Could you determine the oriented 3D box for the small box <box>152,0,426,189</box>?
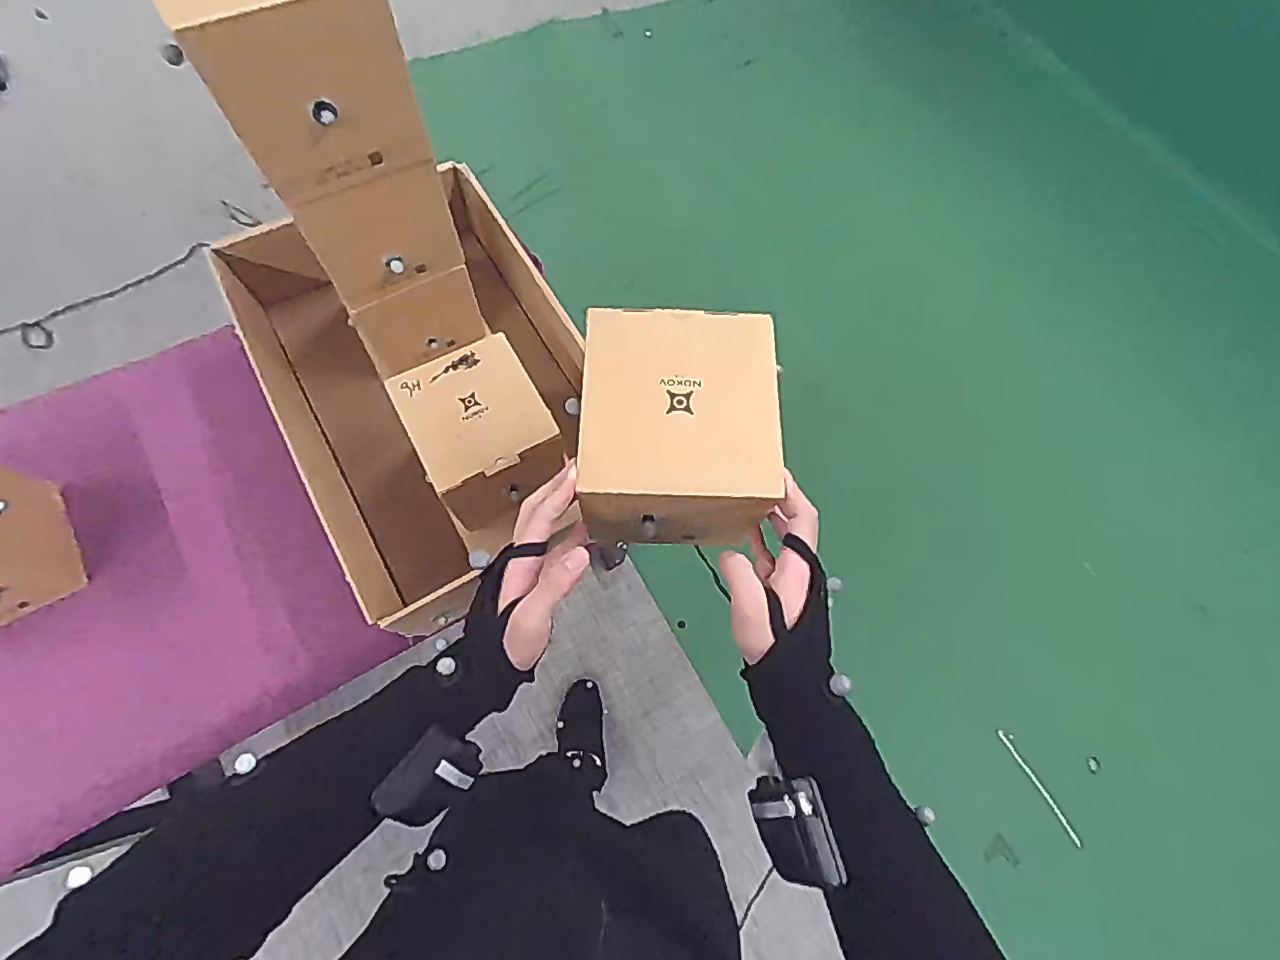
[{"bbox_3d":[-0.331,-0.412,0.515,0.168,0.176,0.179,-29,76,-15],"label":"small box"}]

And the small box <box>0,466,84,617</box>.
[{"bbox_3d":[-0.876,0.081,0.686,0.168,0.176,0.179,-28,74,-16],"label":"small box"}]

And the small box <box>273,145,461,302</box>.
[{"bbox_3d":[-0.348,-0.360,0.671,0.168,0.176,0.179,-30,77,-14],"label":"small box"}]

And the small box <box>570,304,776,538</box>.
[{"bbox_3d":[0.028,-0.045,0.525,0.168,0.176,0.179,1,70,-1],"label":"small box"}]
